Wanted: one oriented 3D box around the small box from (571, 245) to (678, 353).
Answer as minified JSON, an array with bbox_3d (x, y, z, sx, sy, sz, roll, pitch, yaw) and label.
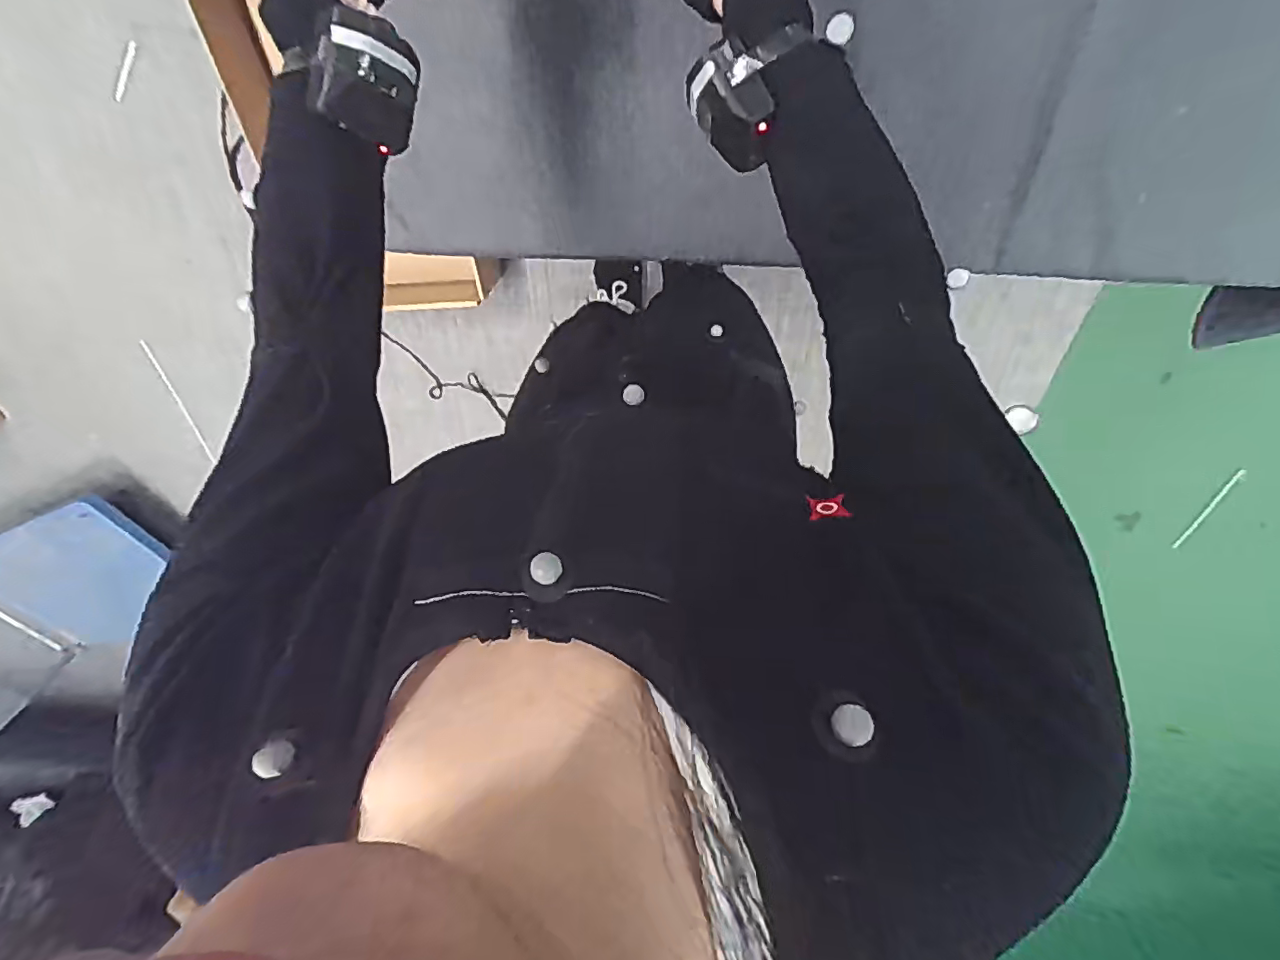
[{"bbox_3d":[-0.044,-0.437,1.304,0.179,0.176,0.168,41,129,3],"label":"small box"}]
